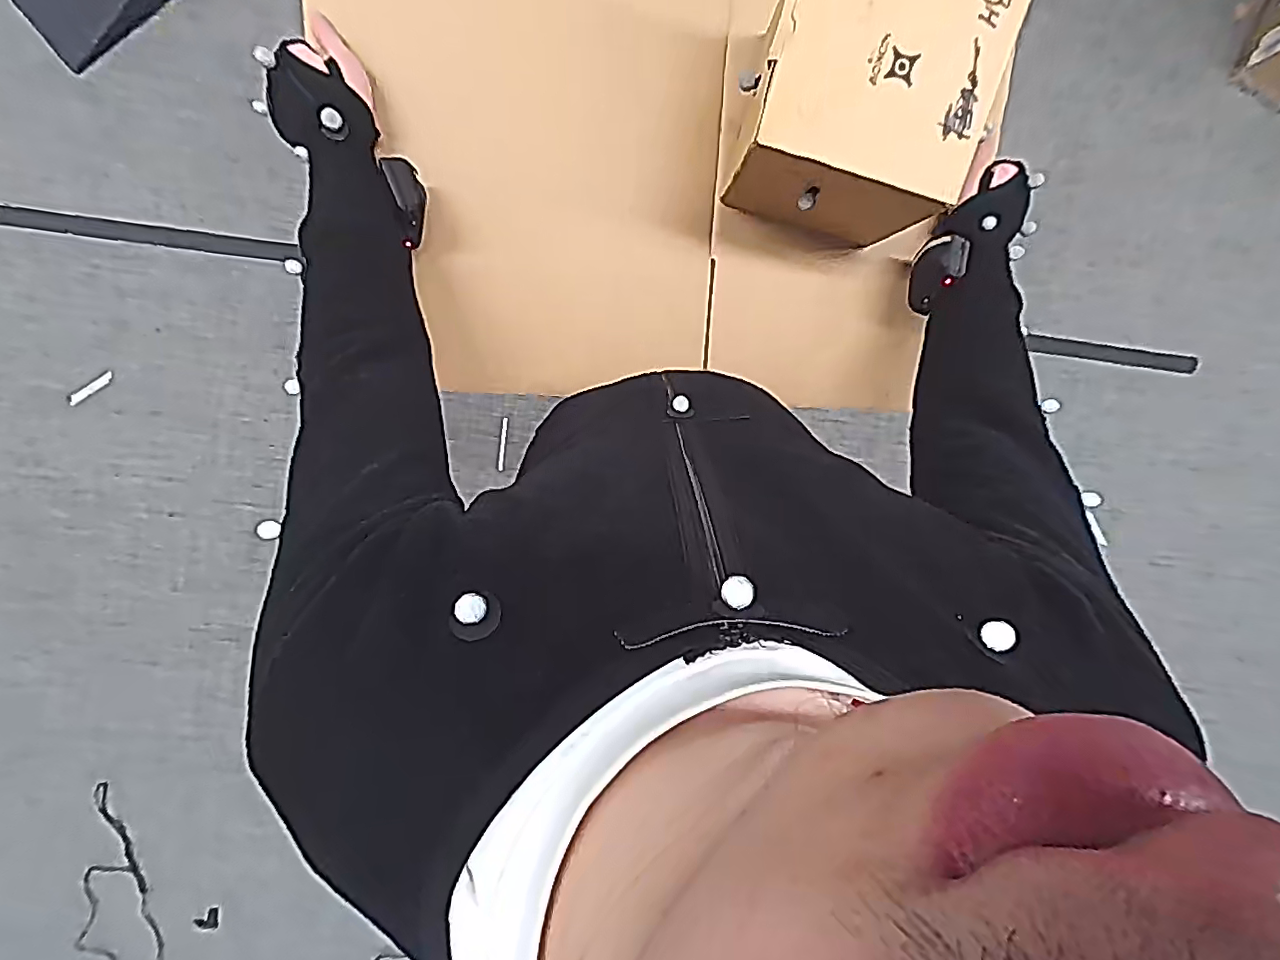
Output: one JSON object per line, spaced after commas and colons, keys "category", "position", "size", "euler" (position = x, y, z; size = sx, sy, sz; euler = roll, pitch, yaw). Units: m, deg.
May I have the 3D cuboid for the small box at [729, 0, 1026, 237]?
{"category": "small box", "position": [0.194, -0.344, 0.500], "size": [0.179, 0.176, 0.168], "euler": [15, 102, -3]}
